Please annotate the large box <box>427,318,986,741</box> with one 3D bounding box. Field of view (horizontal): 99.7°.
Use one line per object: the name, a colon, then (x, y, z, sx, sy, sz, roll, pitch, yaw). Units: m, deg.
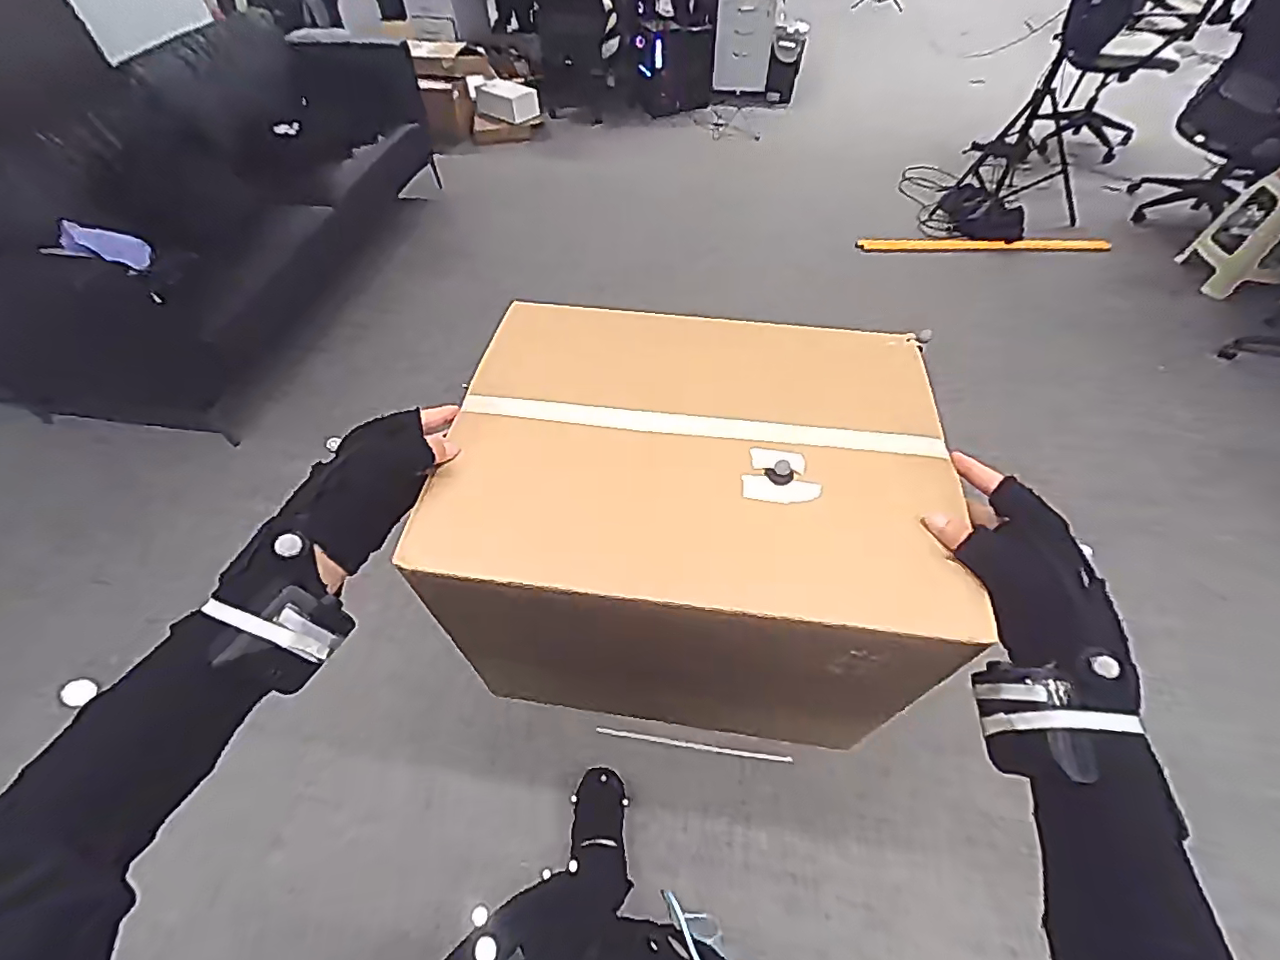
large box: (0.055, 0.058, 0.584, 0.408, 0.320, 0.320, 7, 53, 4)
